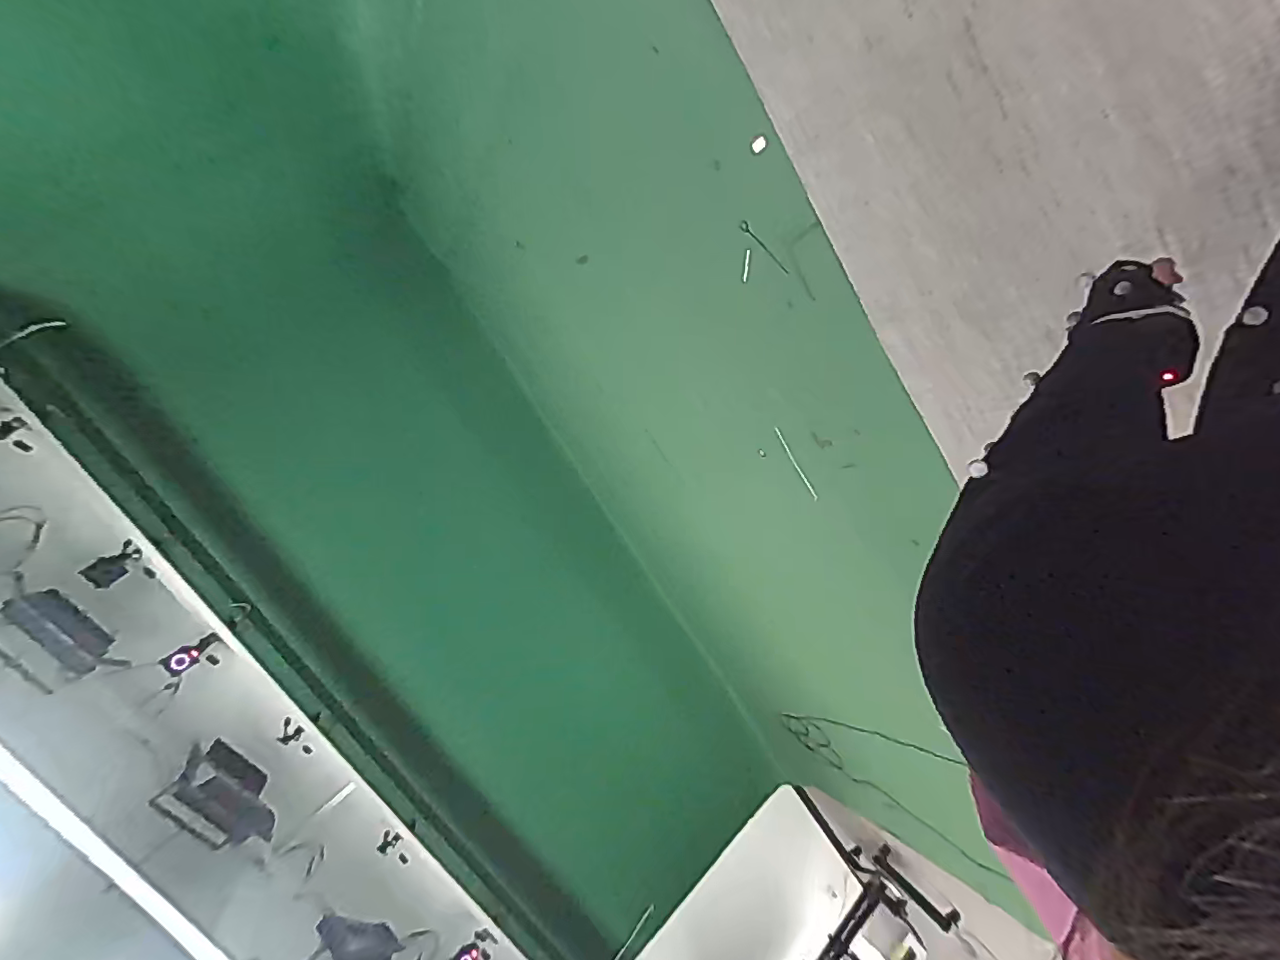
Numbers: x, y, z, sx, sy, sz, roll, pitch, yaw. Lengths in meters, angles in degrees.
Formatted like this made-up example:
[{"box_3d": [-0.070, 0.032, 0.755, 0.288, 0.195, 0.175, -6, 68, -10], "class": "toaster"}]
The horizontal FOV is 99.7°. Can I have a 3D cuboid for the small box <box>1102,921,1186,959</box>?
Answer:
[{"box_3d": [1.038, 1.041, 1.065, 0.168, 0.176, 0.179, 58, 158, -15], "class": "small box"}]
